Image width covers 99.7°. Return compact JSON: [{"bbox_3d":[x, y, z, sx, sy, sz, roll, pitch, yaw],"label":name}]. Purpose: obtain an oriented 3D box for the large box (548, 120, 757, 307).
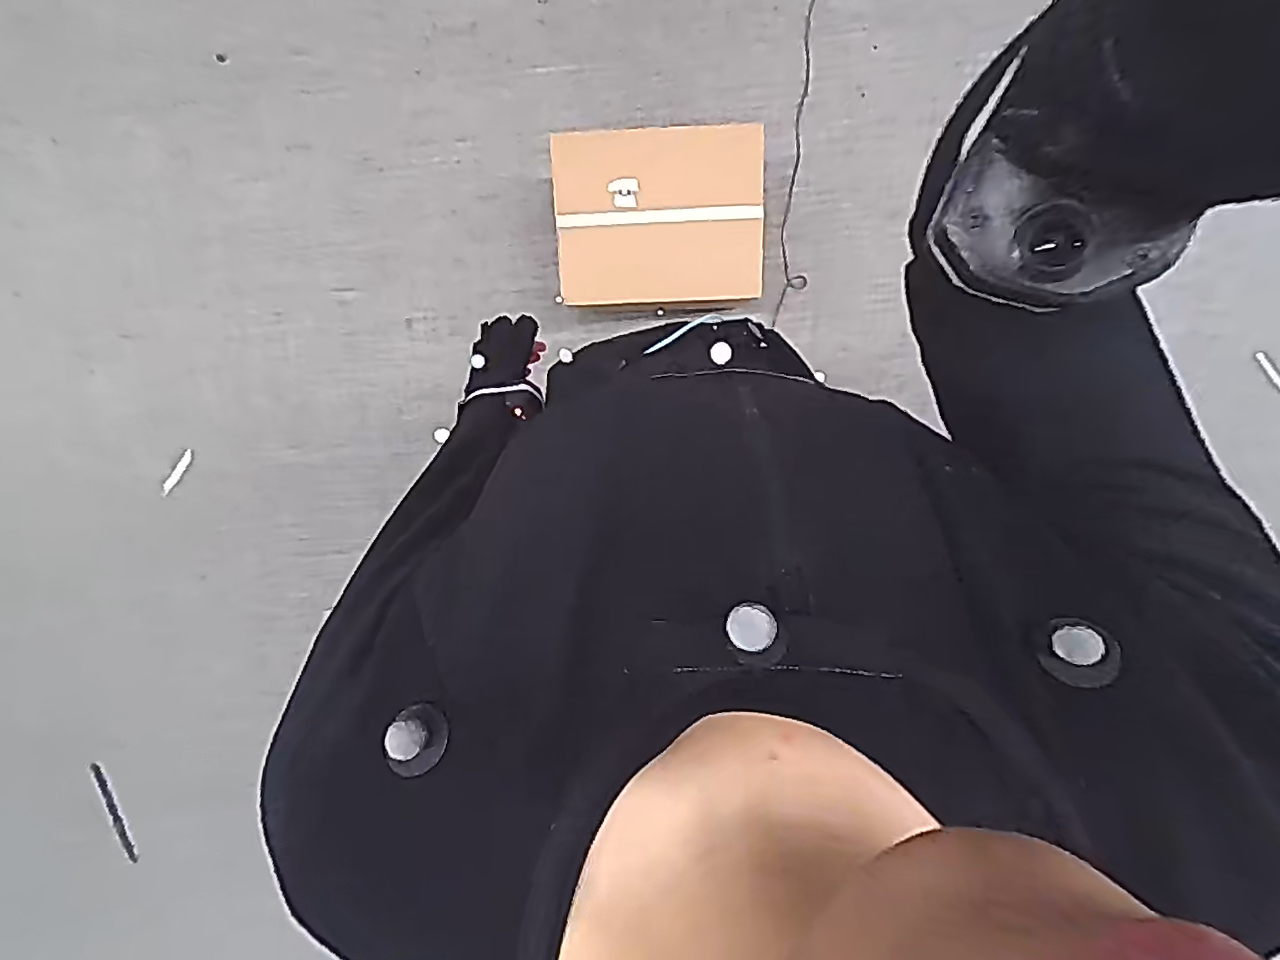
[{"bbox_3d":[0.033,-0.558,1.199,0.408,0.320,0.320,-2,104,2],"label":"large box"}]
